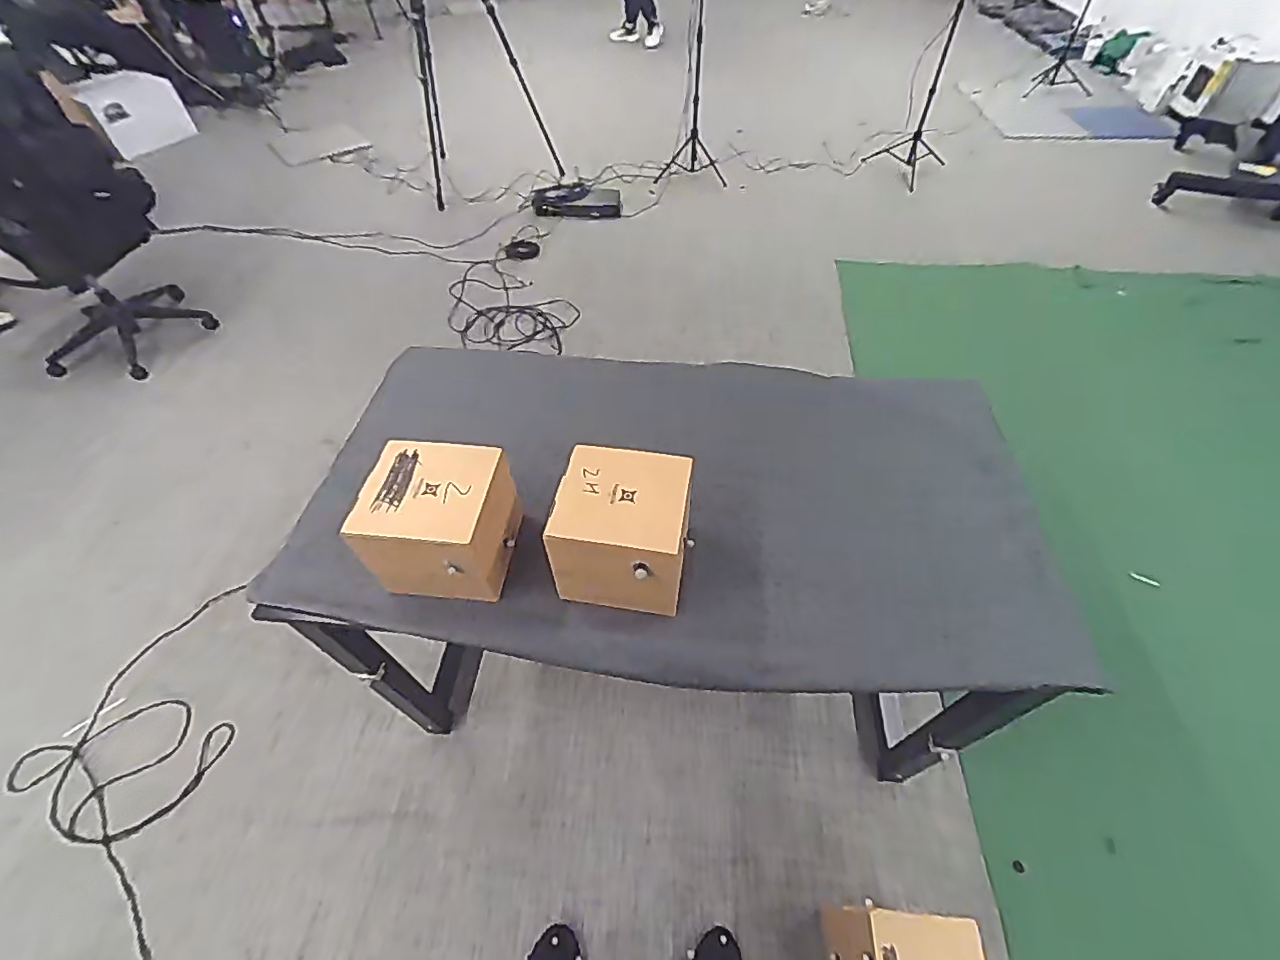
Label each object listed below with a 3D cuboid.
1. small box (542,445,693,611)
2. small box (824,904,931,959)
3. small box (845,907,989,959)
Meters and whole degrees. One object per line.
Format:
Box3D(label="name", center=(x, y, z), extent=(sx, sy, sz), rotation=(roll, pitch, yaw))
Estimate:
Box3D(label="small box", center=(-0.023, 0.073, 0.783), extent=(0.179, 0.176, 0.168), rotation=(7, 50, 9))
Box3D(label="small box", center=(0.459, 0.921, 1.023), extent=(0.168, 0.176, 0.179), rotation=(2, 51, 3))
Box3D(label="small box", center=(0.458, 0.821, 0.892), extent=(0.179, 0.176, 0.168), rotation=(4, 53, 5))
